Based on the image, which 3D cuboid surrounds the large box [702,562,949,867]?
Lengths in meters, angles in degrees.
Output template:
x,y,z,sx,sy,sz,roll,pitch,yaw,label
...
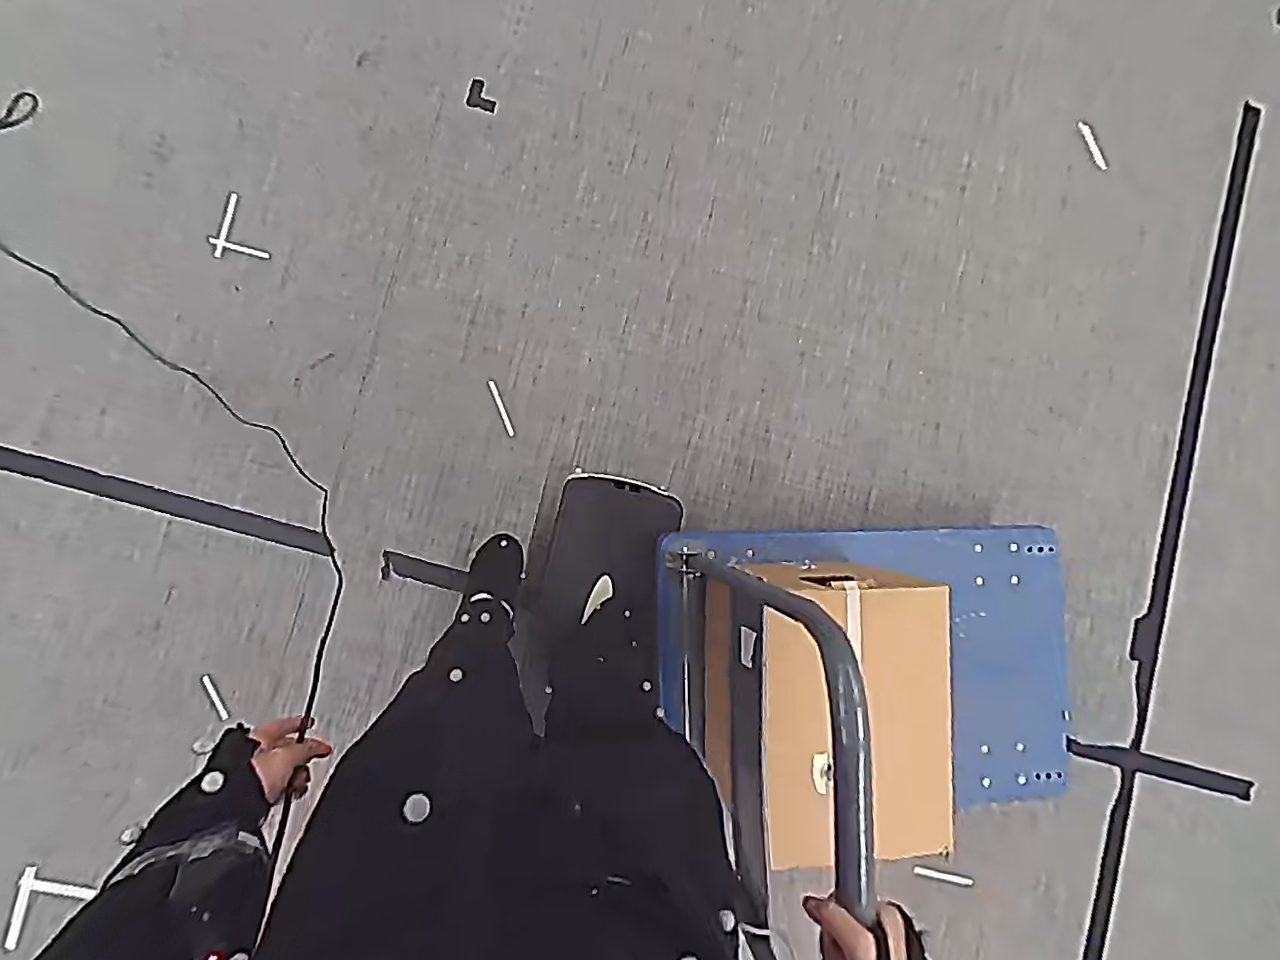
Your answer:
x,y,z,sx,sy,sz,roll,pitch,yaw,label
0.298,0.367,0.957,0.320,0.320,0.408,0,89,-6,large box
